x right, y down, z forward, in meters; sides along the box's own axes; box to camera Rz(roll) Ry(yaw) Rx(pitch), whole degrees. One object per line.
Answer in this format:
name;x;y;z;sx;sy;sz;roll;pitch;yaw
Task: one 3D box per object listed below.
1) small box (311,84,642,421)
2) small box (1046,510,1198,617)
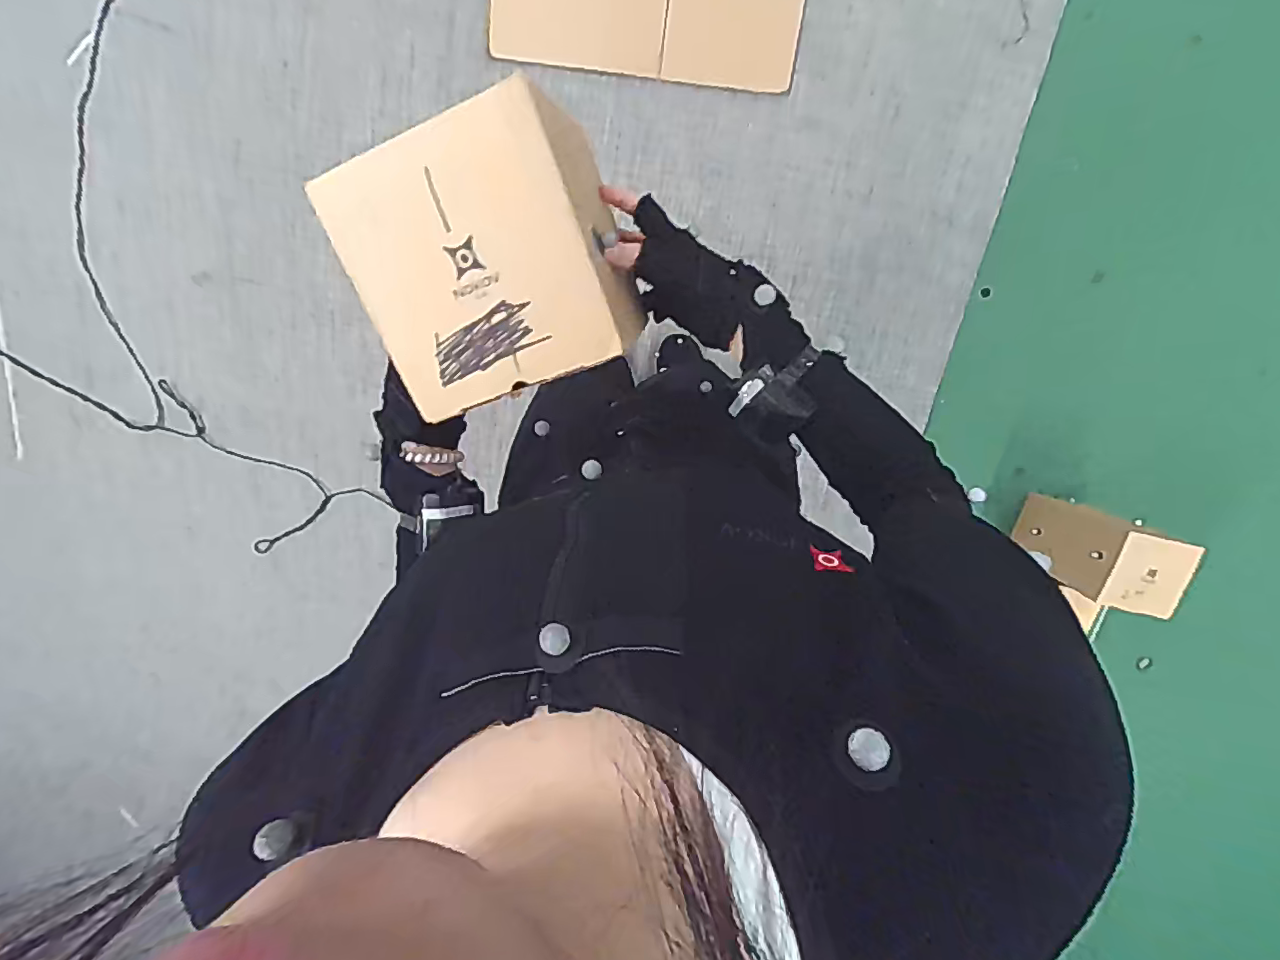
small box;-0.106;-0.173;0.442;0.168;0.176;0.179;-17;111;14
small box;1.090;0.183;1.242;0.168;0.176;0.179;13;105;0
